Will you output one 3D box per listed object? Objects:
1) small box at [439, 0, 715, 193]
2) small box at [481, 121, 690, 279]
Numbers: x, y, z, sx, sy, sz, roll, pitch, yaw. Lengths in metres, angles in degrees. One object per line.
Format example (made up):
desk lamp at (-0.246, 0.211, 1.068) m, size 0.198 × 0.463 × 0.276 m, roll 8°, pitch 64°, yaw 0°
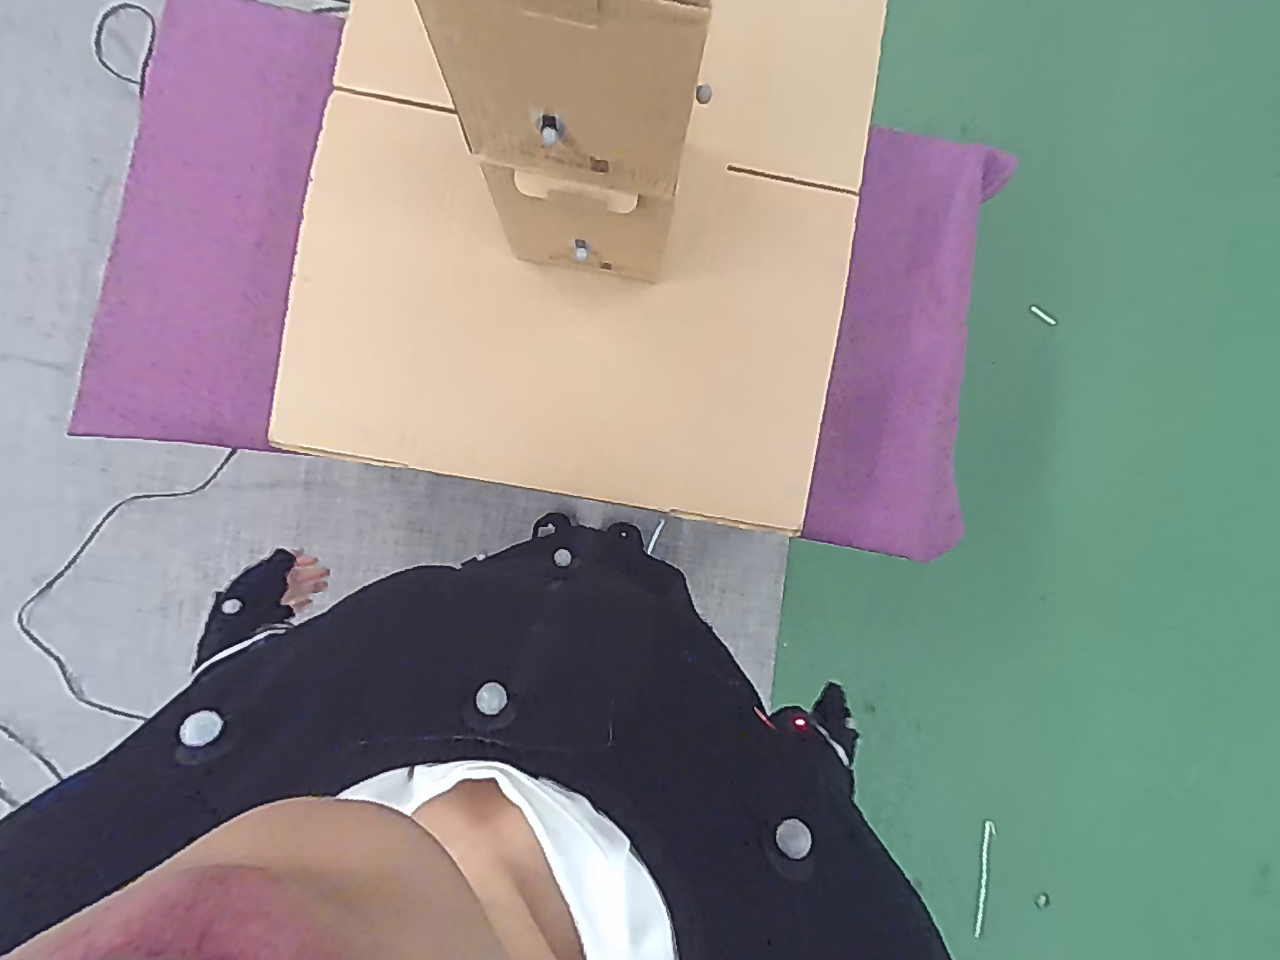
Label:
small box at (-0.032, -0.339, 0.368) m, size 0.168 × 0.176 × 0.179 m, roll 10°, pitch 86°, yaw -3°
small box at (-0.041, -0.328, 0.531) m, size 0.168 × 0.176 × 0.179 m, roll 10°, pitch 86°, yaw -2°
